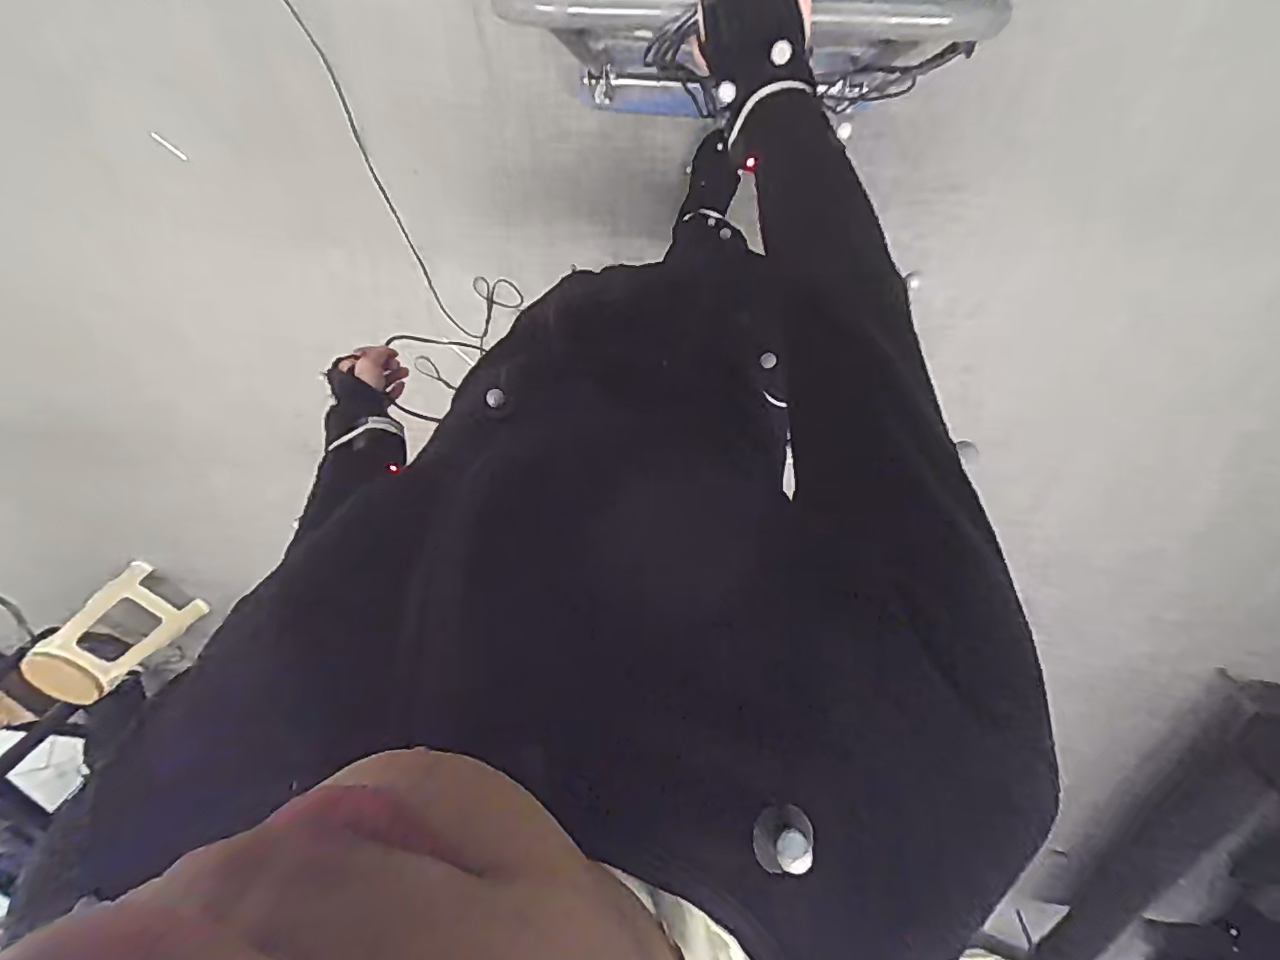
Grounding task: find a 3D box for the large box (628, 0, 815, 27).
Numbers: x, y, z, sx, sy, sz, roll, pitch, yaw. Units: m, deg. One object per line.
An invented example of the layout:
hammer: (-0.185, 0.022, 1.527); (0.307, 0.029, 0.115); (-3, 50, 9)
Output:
large box: (0.138, -0.936, 0.771); (0.320, 0.320, 0.408); (8, 122, 3)
